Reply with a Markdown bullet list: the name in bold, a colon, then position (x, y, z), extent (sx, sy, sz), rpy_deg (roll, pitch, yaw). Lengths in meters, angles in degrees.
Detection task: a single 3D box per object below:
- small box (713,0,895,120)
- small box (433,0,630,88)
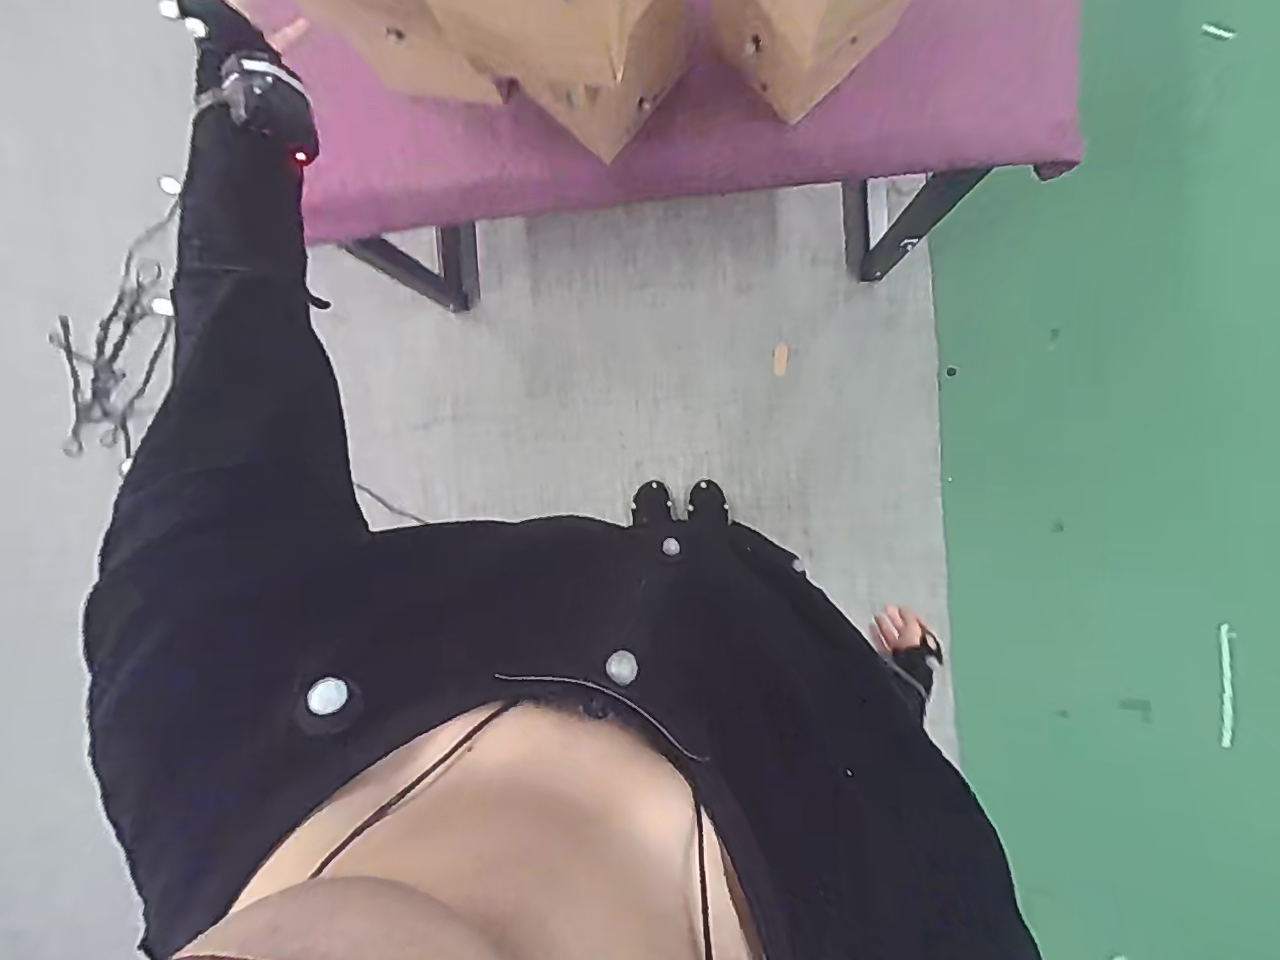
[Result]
- **small box**: position (0.202, -0.594, 0.654), extent (0.179, 0.176, 0.168), rpy_deg (-42, 87, 7)
- **small box**: position (-0.109, -0.523, 0.527), extent (0.179, 0.176, 0.168), rpy_deg (9, 93, 5)
